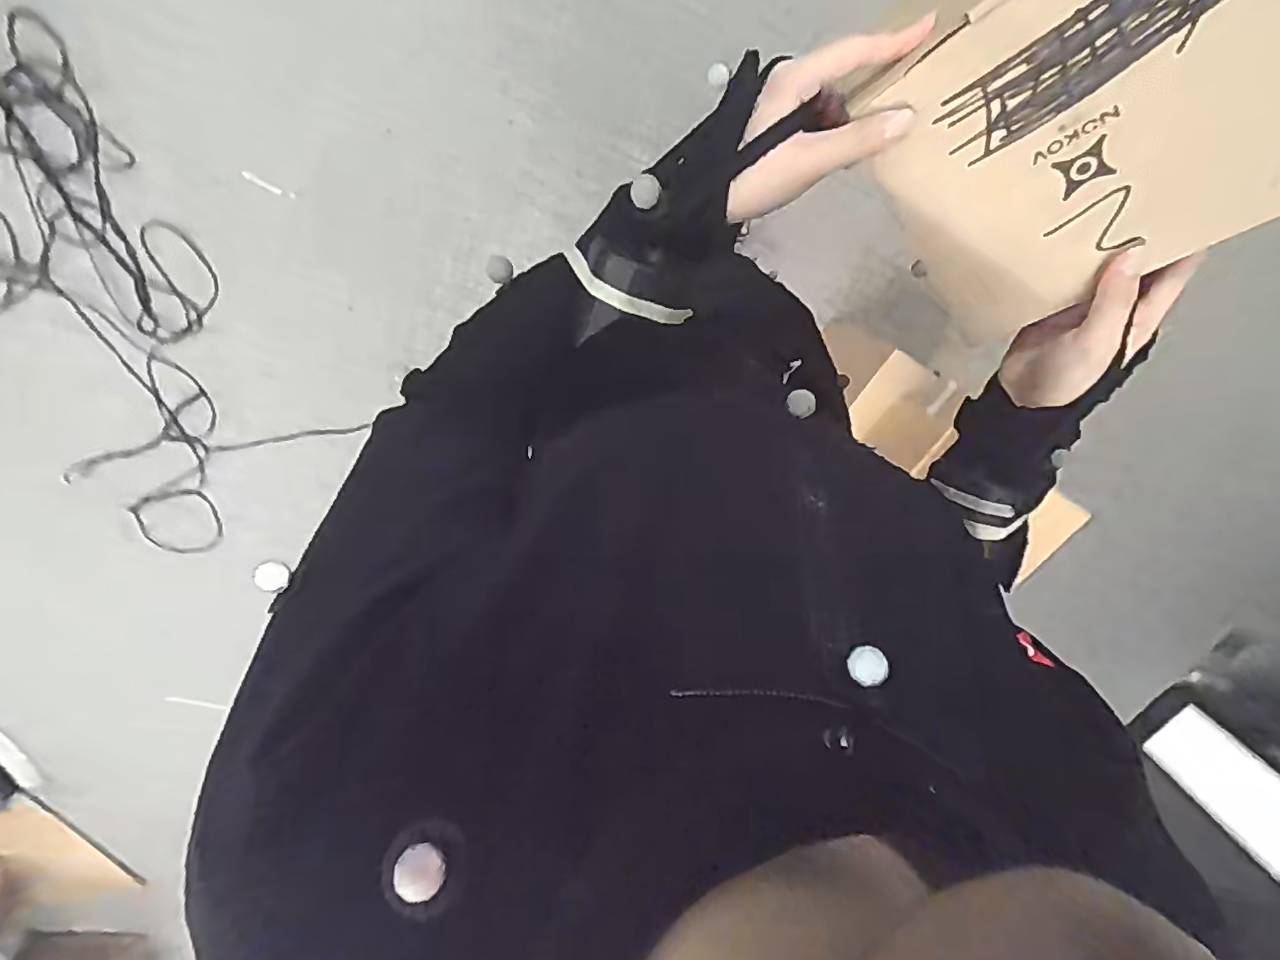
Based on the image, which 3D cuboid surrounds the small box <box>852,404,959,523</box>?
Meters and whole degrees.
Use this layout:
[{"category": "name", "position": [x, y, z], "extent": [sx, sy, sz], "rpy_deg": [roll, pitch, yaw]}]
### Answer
[{"category": "small box", "position": [0.540, -0.018, 1.043], "extent": [0.168, 0.176, 0.179], "rpy_deg": [27, 110, -19]}]

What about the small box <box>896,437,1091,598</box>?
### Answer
[{"category": "small box", "position": [0.572, 0.056, 0.901], "extent": [0.168, 0.176, 0.179], "rpy_deg": [27, 111, -19]}]

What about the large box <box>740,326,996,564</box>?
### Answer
[{"category": "large box", "position": [0.501, -0.090, 1.275], "extent": [0.320, 0.320, 0.408], "rpy_deg": [27, 112, -17]}]
